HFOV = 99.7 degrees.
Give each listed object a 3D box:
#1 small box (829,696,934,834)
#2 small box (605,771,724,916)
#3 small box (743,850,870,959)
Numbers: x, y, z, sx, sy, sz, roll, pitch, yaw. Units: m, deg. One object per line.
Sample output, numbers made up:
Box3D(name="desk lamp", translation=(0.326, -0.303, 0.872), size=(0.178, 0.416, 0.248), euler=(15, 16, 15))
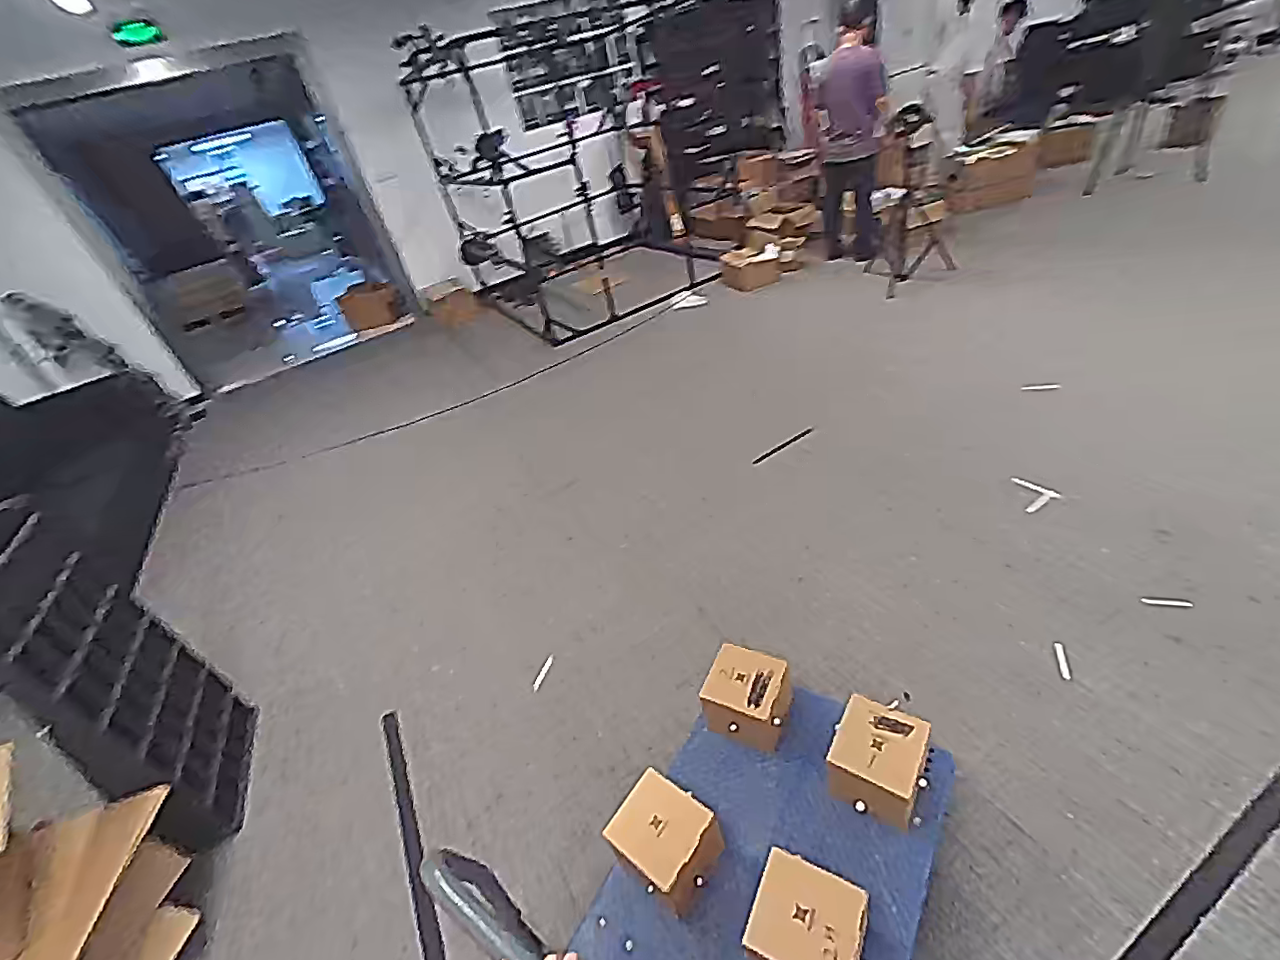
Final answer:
Box3D(name="small box", translation=(0.523, 0.618, 1.179), size=(0.168, 0.176, 0.179), euler=(14, 45, 35))
Box3D(name="small box", translation=(0.058, 0.772, 1.149), size=(0.179, 0.176, 0.168), euler=(17, 47, 37))
Box3D(name="small box", translation=(0.306, 0.825, 0.978), size=(0.179, 0.176, 0.168), euler=(9, 42, 31))
